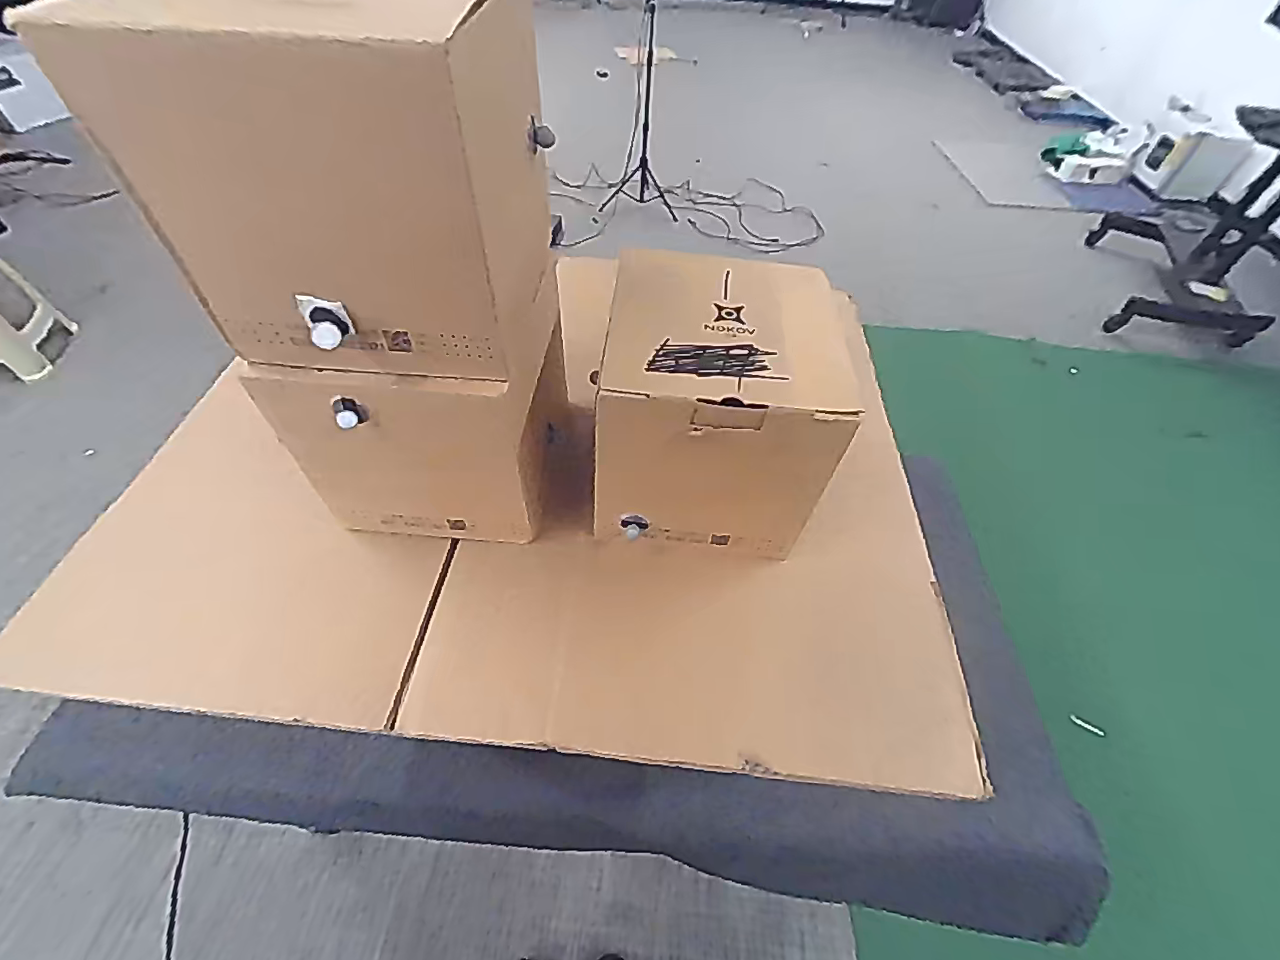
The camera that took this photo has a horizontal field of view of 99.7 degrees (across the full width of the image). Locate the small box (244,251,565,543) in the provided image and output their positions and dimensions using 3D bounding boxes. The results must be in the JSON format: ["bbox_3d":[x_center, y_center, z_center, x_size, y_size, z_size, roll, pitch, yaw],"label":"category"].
[{"bbox_3d":[-0.159,-0.072,0.443,0.168,0.176,0.179,4,50,2],"label":"small box"}]

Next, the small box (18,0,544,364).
[{"bbox_3d":[-0.153,-0.191,0.310,0.168,0.176,0.179,2,53,0],"label":"small box"}]
